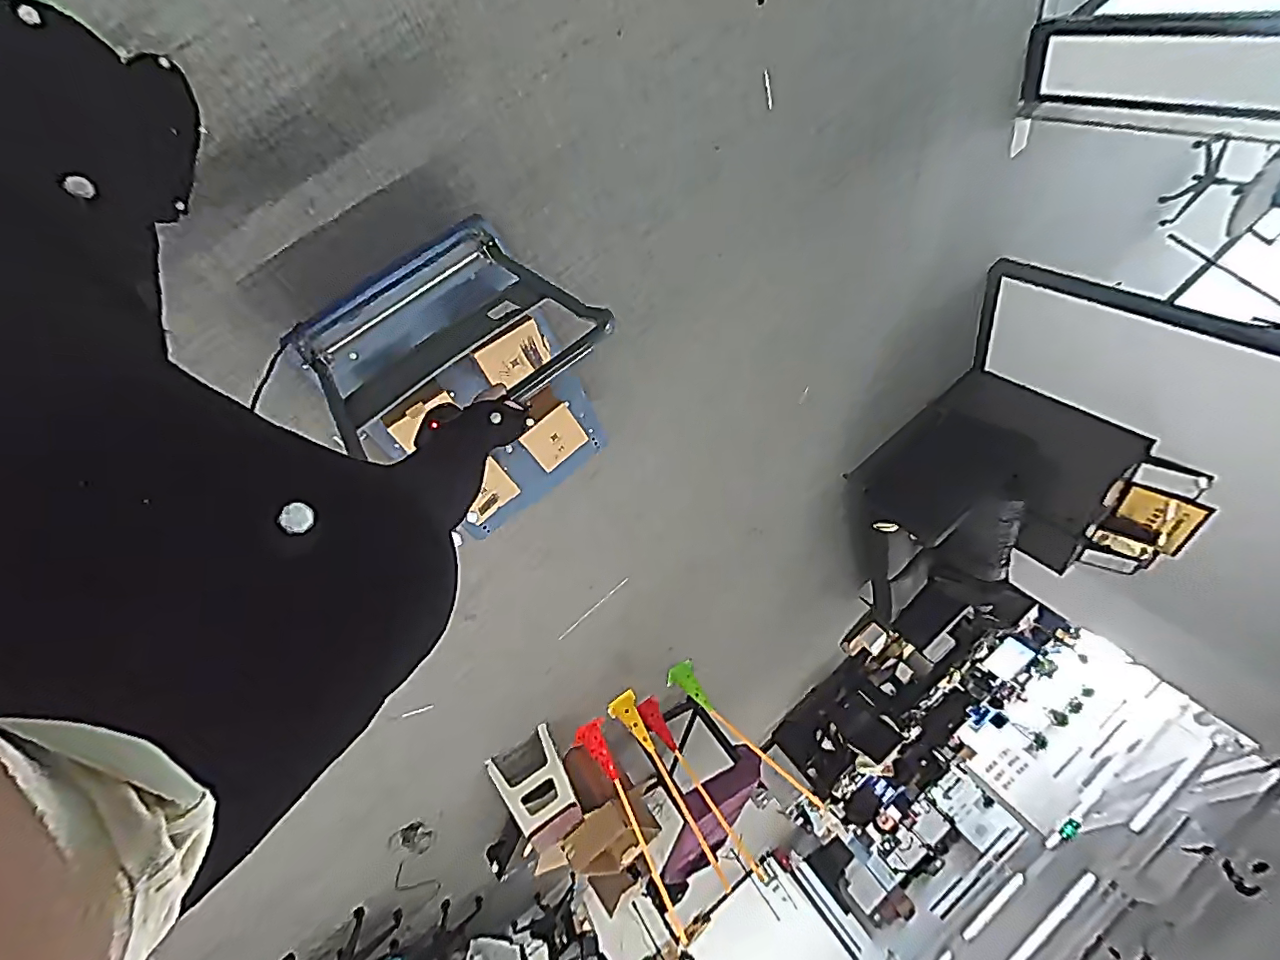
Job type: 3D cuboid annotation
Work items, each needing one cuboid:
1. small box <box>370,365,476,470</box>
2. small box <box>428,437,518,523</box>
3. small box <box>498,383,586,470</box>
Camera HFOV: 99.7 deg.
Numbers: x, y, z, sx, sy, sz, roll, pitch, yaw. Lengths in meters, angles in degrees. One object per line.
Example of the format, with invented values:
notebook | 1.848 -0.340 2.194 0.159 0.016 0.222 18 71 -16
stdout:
small box | -0.564 -0.165 1.406 0.168 0.176 0.179 -37 139 -11
small box | -0.496 -0.014 1.591 0.168 0.176 0.179 -40 140 -9
small box | -0.299 -0.169 1.633 0.168 0.176 0.179 -40 140 -7
